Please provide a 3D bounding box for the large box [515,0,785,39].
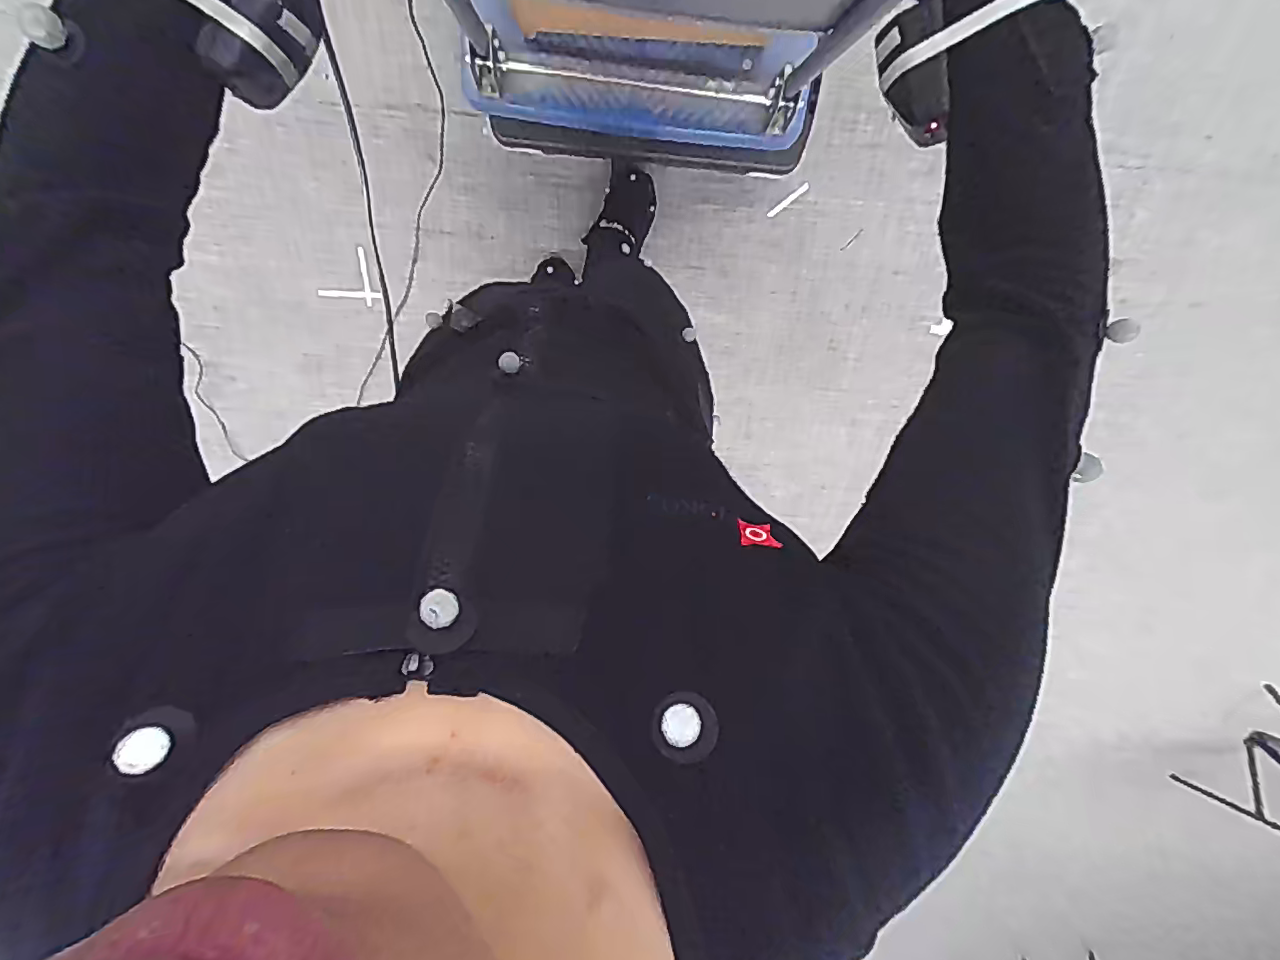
[{"bbox_3d":[0.017,-0.823,0.694,0.408,0.320,0.320,0,109,-4],"label":"large box"}]
